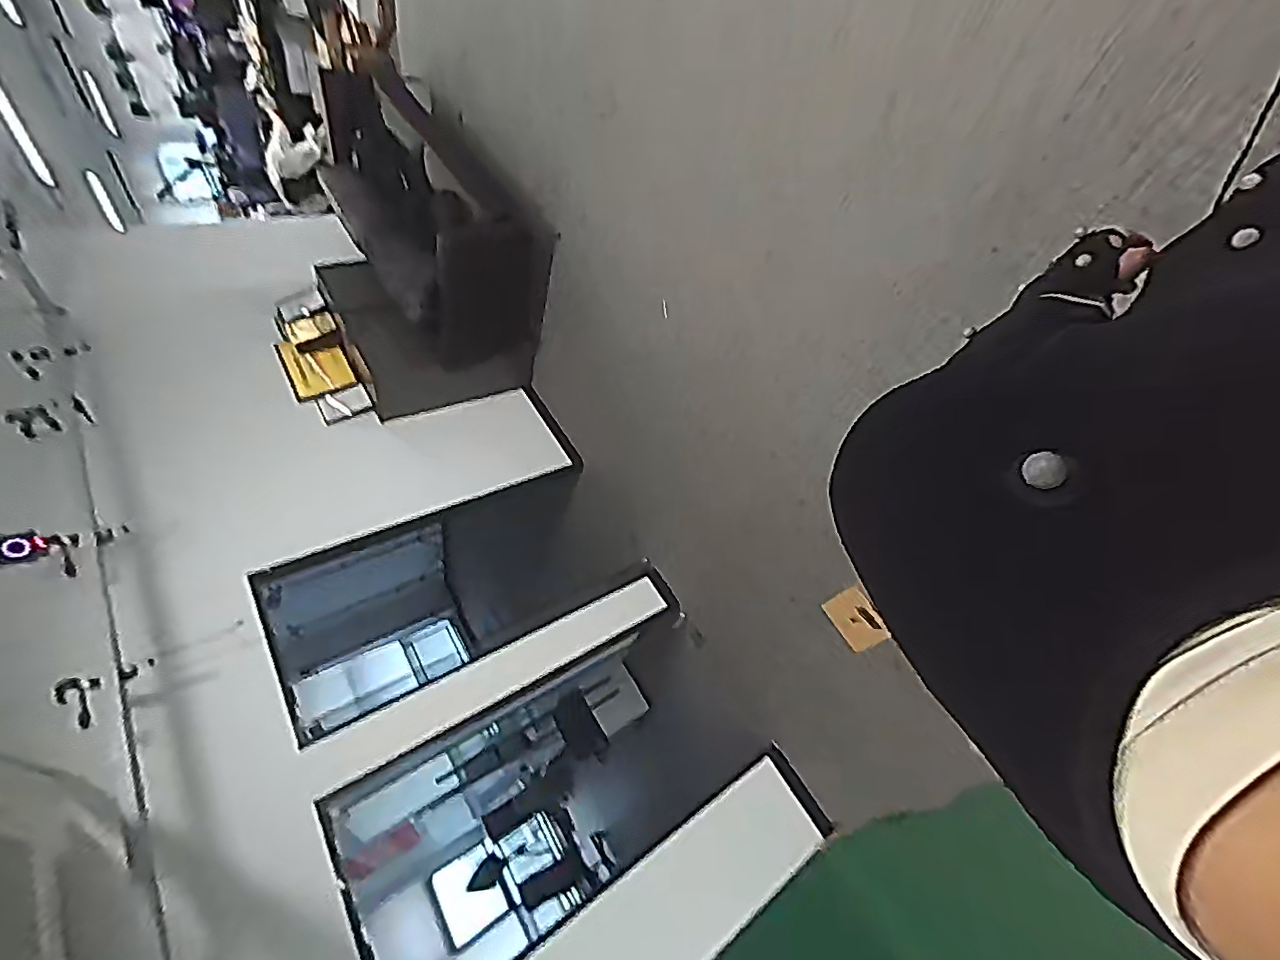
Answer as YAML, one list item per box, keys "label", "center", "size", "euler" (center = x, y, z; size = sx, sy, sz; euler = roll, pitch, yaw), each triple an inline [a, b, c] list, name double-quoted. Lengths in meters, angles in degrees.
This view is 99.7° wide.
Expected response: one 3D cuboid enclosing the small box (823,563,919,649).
- label: "small box"
  center: [0.695, 0.372, 1.612]
  size: [0.168, 0.176, 0.179]
  euler: [57, 146, 20]
